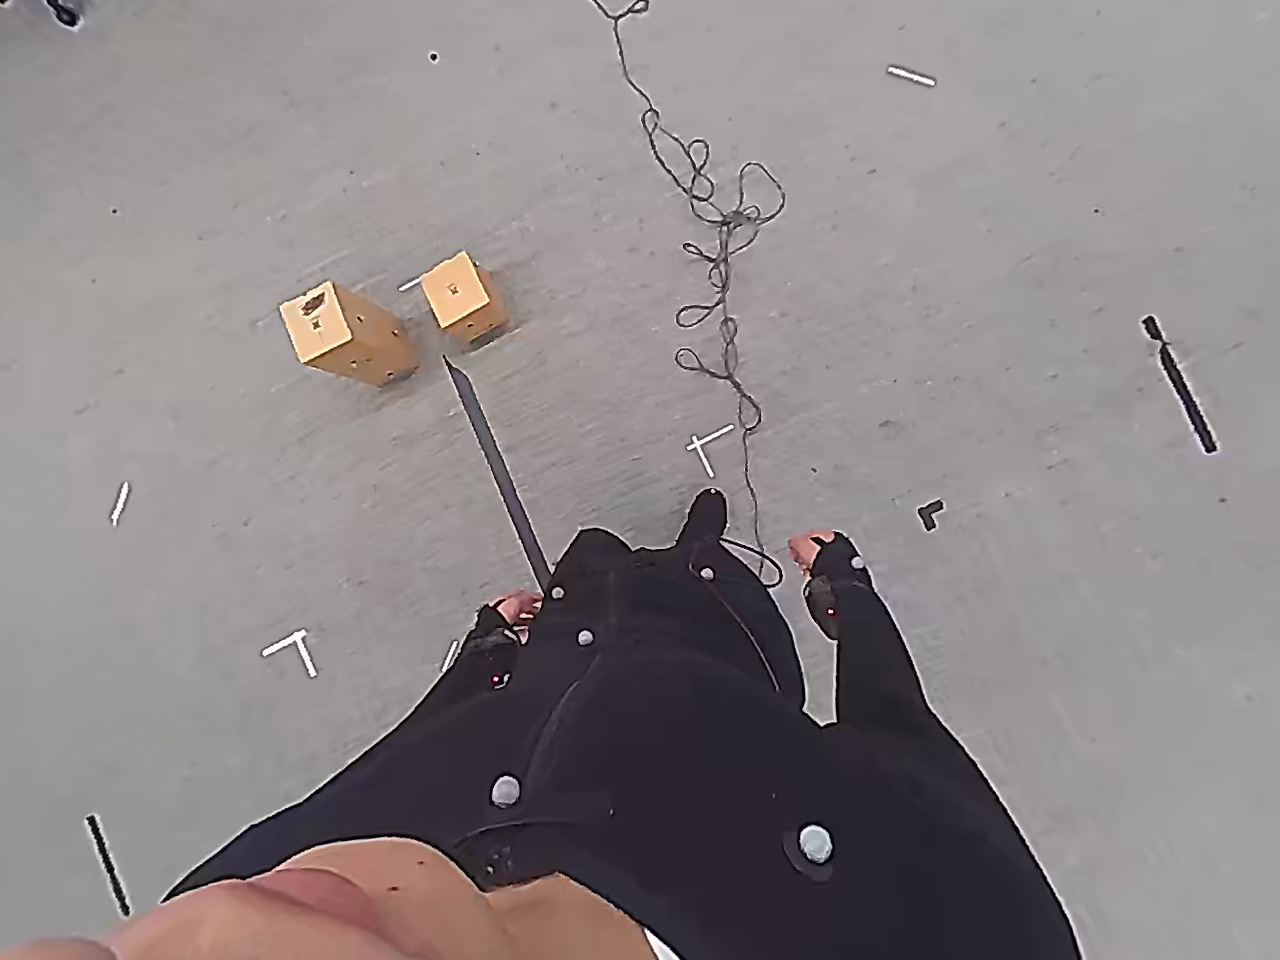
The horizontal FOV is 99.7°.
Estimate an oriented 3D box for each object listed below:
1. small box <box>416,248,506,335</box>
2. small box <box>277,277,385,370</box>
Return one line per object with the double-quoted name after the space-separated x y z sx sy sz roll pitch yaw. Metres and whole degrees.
-0.535 -0.559 1.642 0.168 0.176 0.179 -27 86 6 "small box"
-0.857 -0.429 1.513 0.168 0.176 0.179 -23 87 7 "small box"
